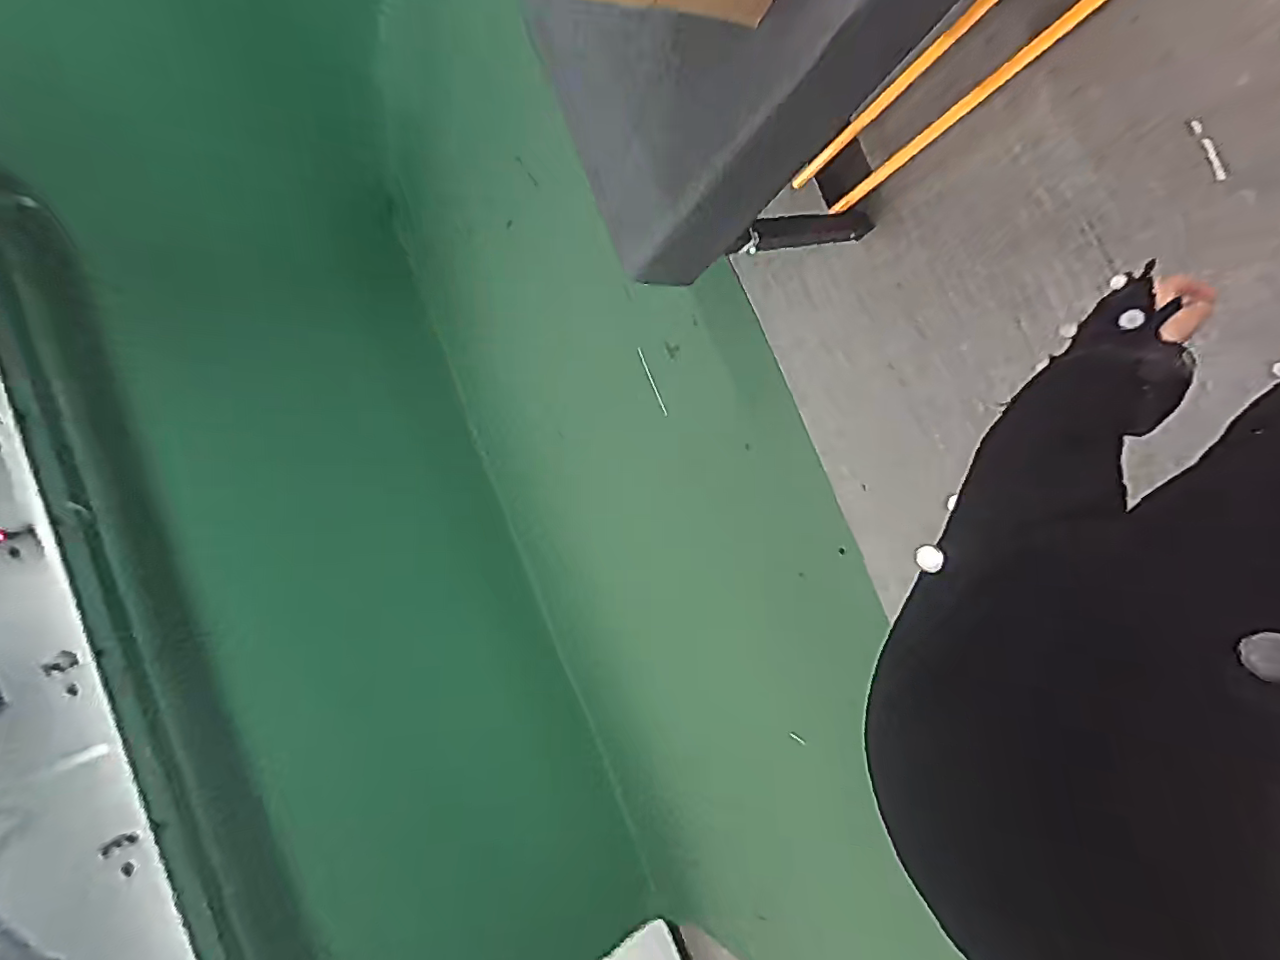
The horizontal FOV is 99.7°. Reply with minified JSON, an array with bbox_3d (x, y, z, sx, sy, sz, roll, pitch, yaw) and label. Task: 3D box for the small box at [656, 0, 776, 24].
[{"bbox_3d":[0.093,-0.646,0.578,0.179,0.176,0.168,-35,76,58],"label":"small box"}]
